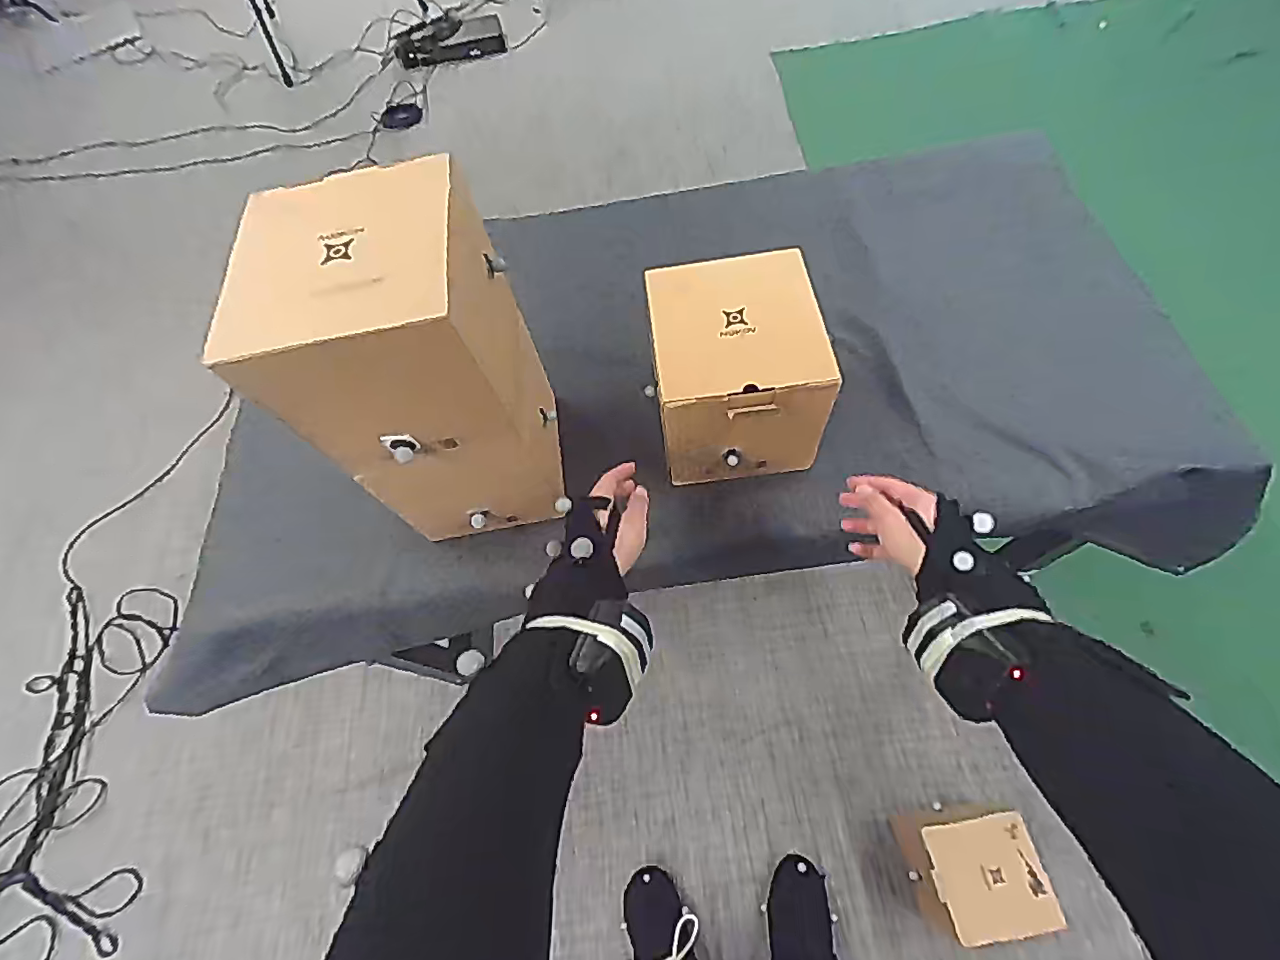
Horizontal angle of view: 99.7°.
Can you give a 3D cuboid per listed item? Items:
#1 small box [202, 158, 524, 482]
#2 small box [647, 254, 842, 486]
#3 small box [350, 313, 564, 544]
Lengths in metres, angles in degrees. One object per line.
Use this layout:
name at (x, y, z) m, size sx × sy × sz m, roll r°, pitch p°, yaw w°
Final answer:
small box at (-0.203, -0.122, 0.450) m, size 0.168 × 0.176 × 0.179 m, roll -12°, pitch 63°, yaw 2°
small box at (0.101, -0.113, 0.596) m, size 0.168 × 0.176 × 0.179 m, roll -8°, pitch 63°, yaw 2°
small box at (-0.186, -0.049, 0.594) m, size 0.168 × 0.176 × 0.179 m, roll -11°, pitch 63°, yaw 1°
